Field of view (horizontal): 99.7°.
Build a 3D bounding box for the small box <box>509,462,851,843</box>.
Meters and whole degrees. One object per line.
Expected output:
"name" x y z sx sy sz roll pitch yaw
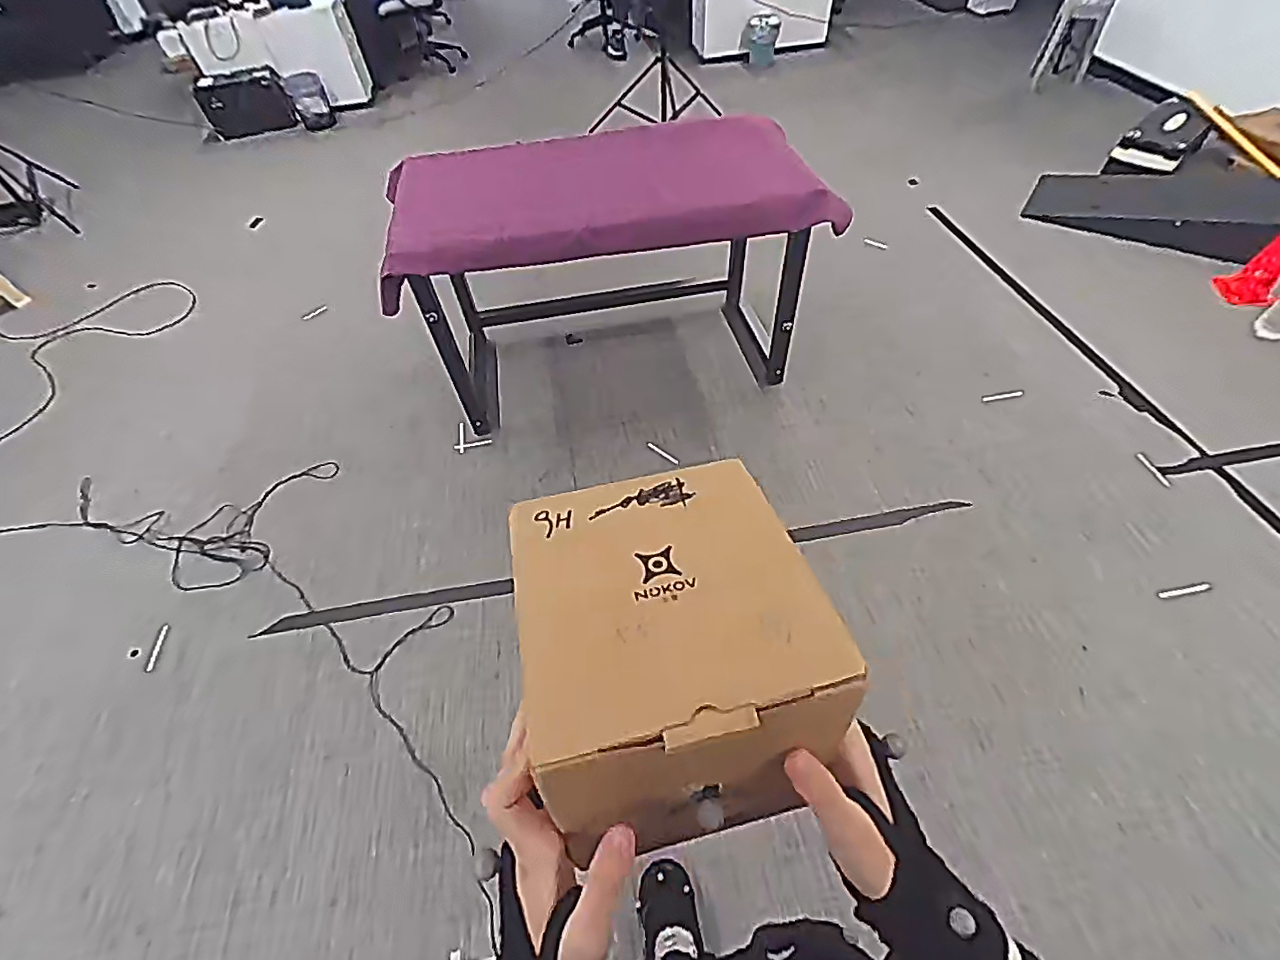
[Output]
"small box" 0.014 0.118 0.367 0.168 0.176 0.179 -11 42 -7
